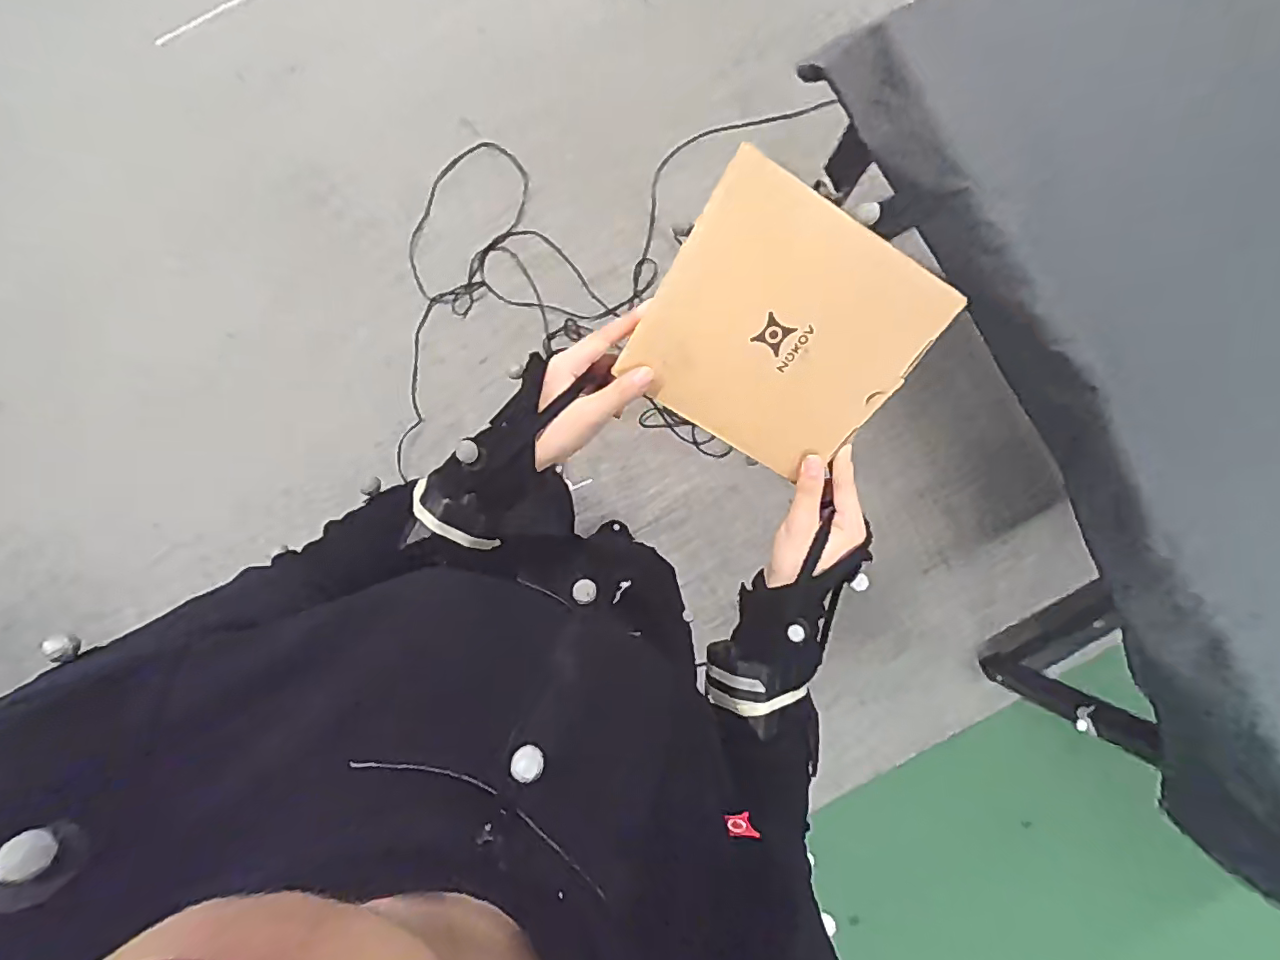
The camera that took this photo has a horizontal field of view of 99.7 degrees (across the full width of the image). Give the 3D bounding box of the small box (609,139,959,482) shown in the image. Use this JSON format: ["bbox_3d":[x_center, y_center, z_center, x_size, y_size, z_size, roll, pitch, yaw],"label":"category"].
[{"bbox_3d":[0.097,-0.134,0.434,0.179,0.176,0.168,29,116,-10],"label":"small box"}]
